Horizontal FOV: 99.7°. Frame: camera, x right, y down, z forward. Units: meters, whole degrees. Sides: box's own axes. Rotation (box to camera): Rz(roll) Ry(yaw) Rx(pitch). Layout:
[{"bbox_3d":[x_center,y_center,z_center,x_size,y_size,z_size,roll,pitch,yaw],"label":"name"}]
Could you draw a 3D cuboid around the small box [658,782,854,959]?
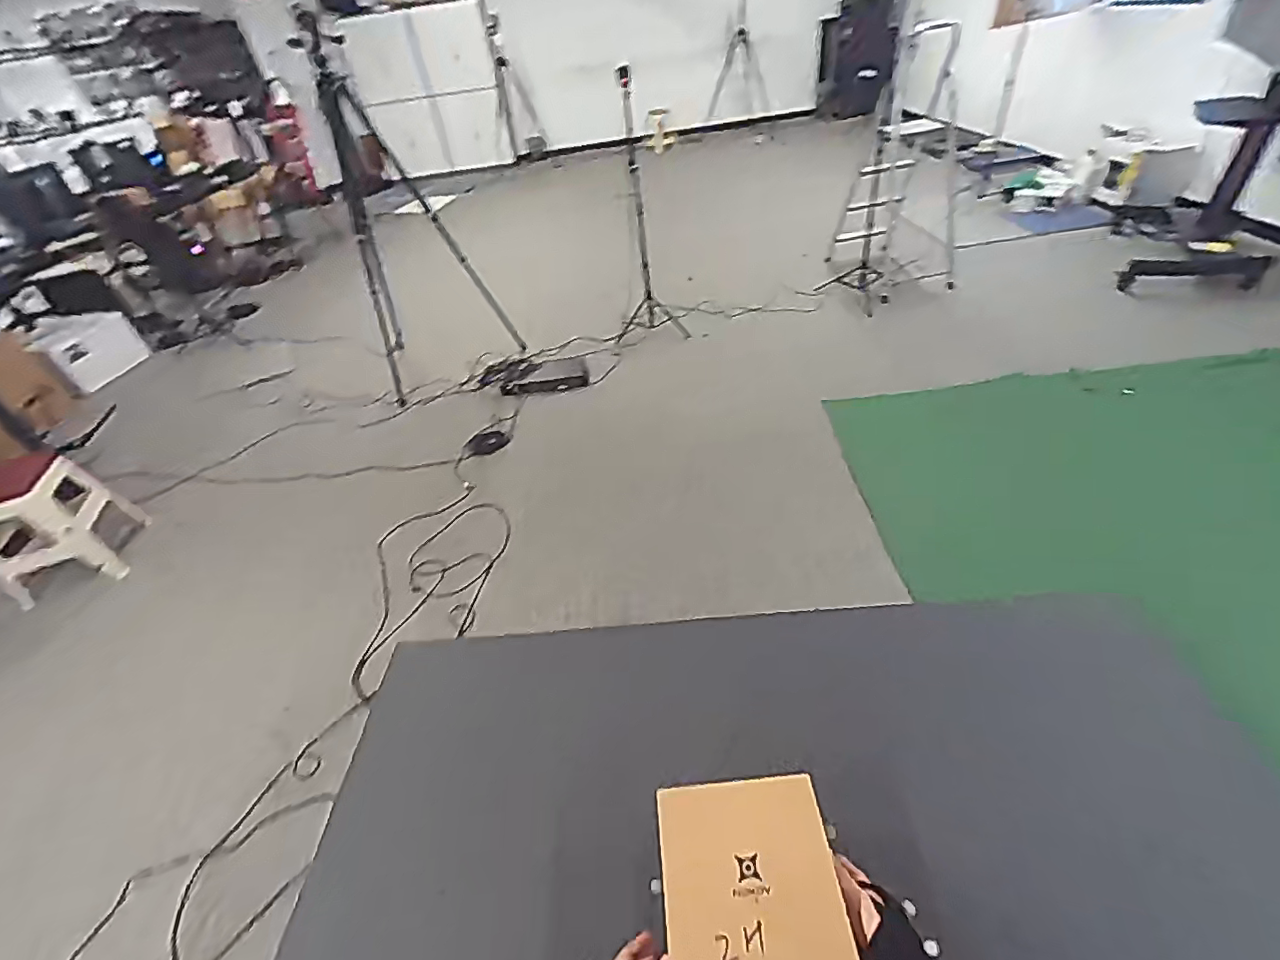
[{"bbox_3d":[0.111,0.447,0.565,0.168,0.176,0.179,-8,40,3],"label":"small box"}]
